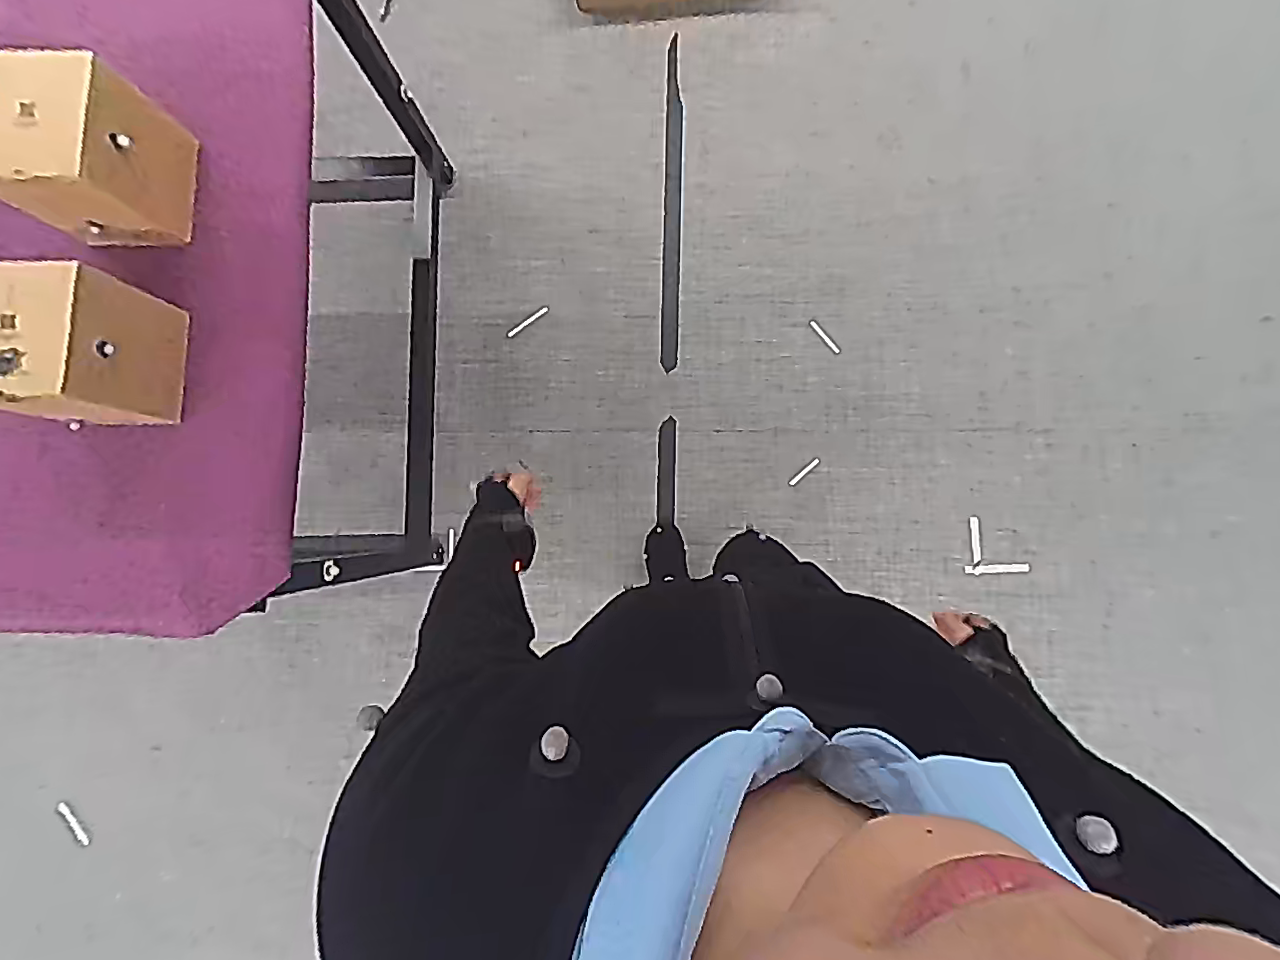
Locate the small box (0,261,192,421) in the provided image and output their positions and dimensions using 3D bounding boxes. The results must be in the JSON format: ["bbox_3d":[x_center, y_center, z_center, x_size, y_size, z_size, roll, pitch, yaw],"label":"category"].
[{"bbox_3d":[-0.773,-0.181,0.752,0.168,0.176,0.179,0,84,1],"label":"small box"}]

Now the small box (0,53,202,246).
[{"bbox_3d":[-0.780,-0.465,0.779,0.168,0.176,0.179,1,85,2],"label":"small box"}]
